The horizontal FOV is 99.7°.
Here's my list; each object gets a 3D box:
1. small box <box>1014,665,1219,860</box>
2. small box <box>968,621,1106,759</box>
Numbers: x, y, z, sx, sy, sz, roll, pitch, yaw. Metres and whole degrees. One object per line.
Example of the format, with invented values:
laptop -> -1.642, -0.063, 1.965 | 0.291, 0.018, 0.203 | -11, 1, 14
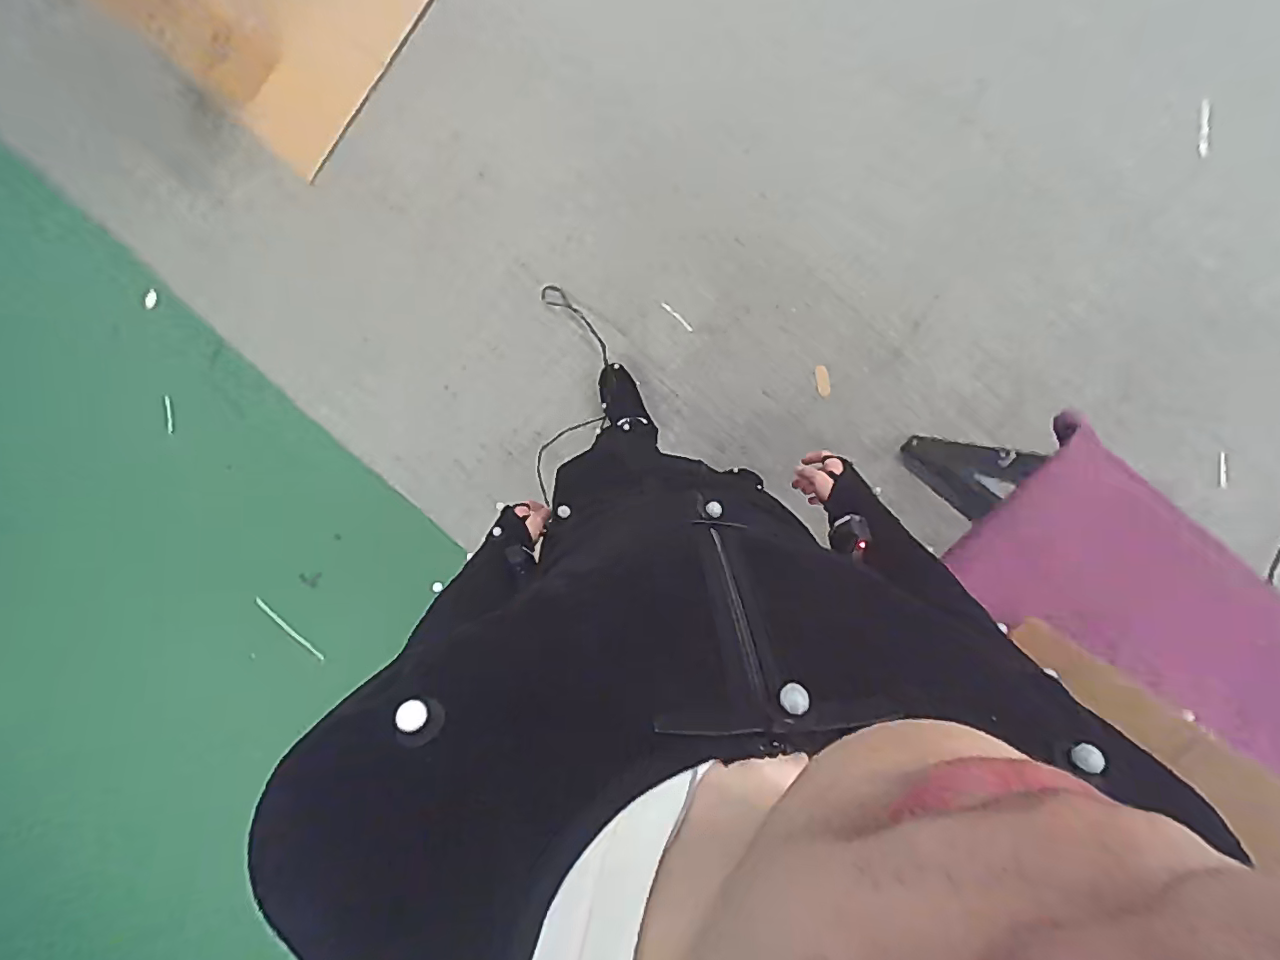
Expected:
small box -> 0.600, 0.365, 0.651 | 0.168, 0.176, 0.179 | 41, 101, 0
small box -> 0.635, 0.350, 0.813 | 0.168, 0.176, 0.179 | 40, 101, 1
